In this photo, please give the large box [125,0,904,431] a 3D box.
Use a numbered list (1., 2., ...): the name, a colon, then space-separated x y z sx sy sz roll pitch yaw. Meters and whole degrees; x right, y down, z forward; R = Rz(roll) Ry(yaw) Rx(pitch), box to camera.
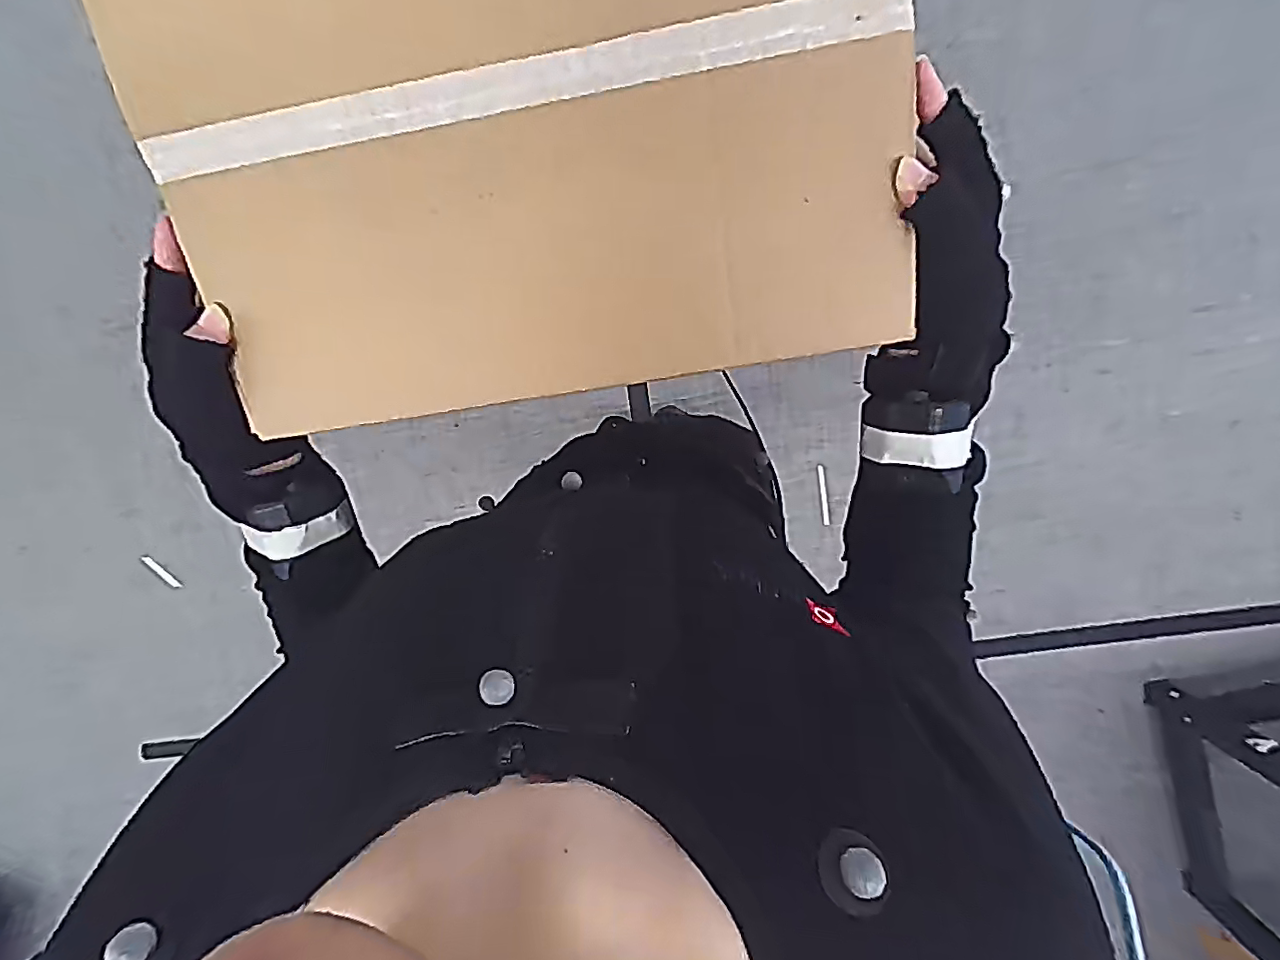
1. large box: -0.060 -0.249 0.435 0.408 0.320 0.320 -8 108 5
